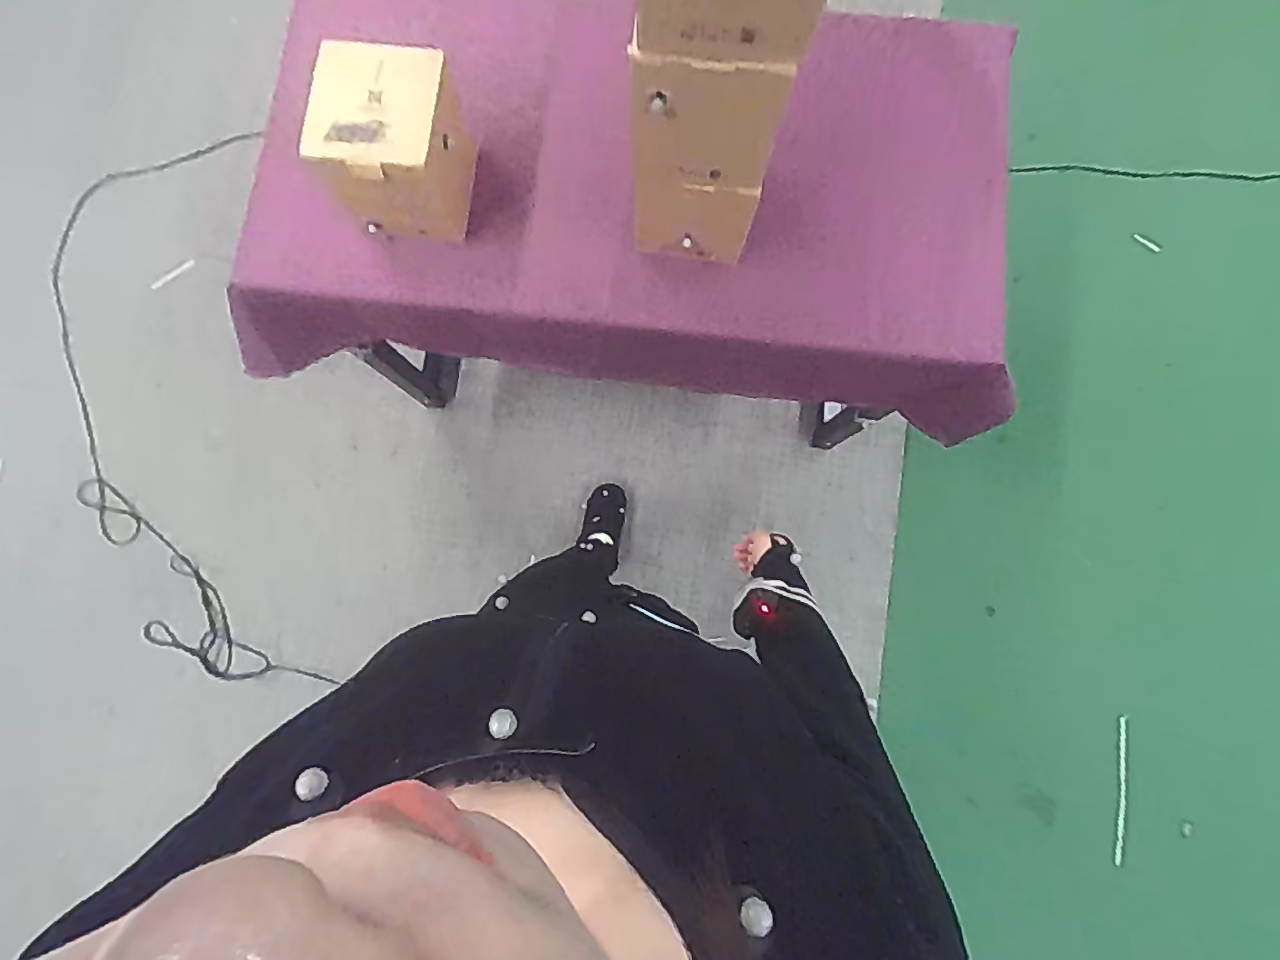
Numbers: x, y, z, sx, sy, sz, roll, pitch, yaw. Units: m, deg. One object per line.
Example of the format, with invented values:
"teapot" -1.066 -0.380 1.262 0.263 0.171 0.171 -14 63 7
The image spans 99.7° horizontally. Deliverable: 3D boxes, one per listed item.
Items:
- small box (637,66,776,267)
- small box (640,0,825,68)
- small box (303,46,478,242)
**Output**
"small box" 0.087 -0.443 0.784 0.168 0.176 0.179 8 81 2
"small box" 0.088 -0.501 0.462 0.168 0.176 0.179 6 80 0
"small box" -0.346 -0.474 0.786 0.168 0.176 0.179 5 80 0
